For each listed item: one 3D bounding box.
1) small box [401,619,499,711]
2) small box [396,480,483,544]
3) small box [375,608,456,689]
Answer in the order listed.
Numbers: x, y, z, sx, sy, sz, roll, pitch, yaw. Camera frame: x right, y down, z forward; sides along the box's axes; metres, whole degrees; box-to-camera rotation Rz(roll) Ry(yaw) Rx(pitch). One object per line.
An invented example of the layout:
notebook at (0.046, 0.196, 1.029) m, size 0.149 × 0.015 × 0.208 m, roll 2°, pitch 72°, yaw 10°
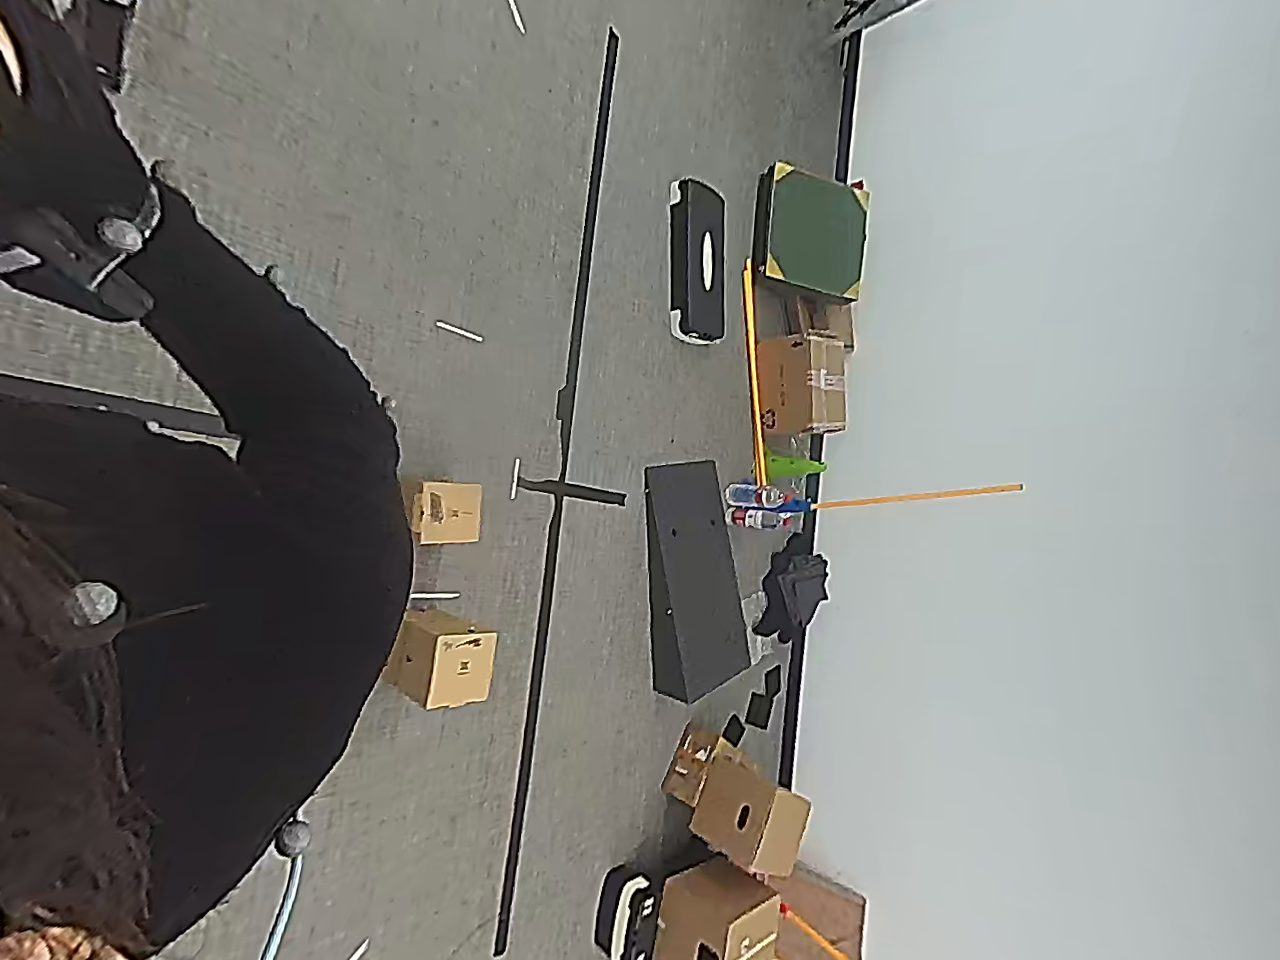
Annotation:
small box at (-0.490, 0.466, 1.385) m, size 0.168 × 0.176 × 0.179 m, roll 14°, pitch 83°, yaw -47°
small box at (-0.565, 0.088, 1.520) m, size 0.179 × 0.176 × 0.168 m, roll 4°, pitch 90°, yaw -47°
small box at (-0.611, 0.460, 1.495) m, size 0.168 × 0.176 × 0.179 m, roll 16°, pitch 80°, yaw -46°
